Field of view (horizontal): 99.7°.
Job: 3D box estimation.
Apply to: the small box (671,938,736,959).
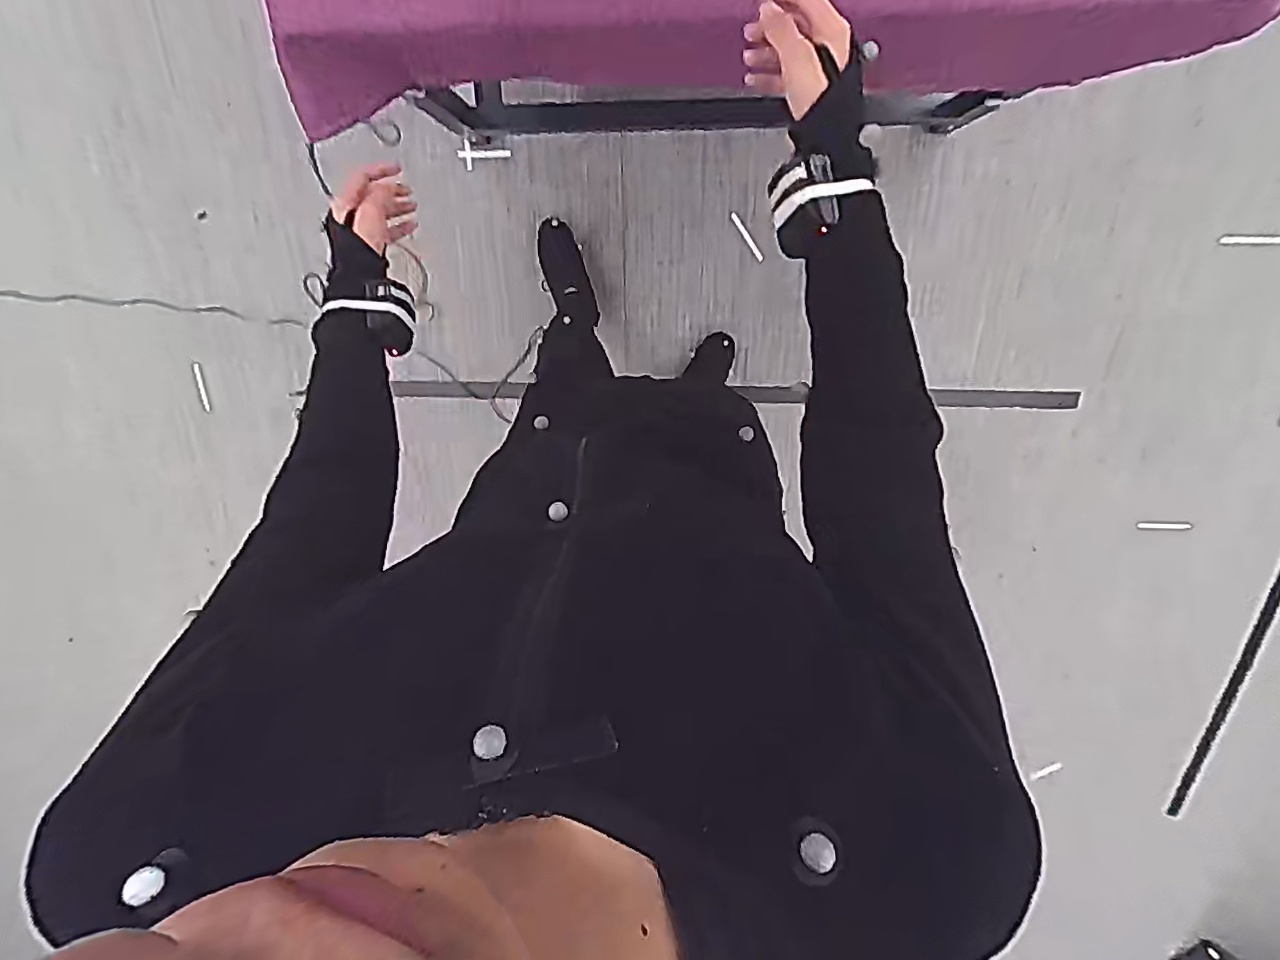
[{"bbox_3d":[0.173,1.380,1.457,0.179,0.176,0.168,0,110,2],"label":"small box"}]
